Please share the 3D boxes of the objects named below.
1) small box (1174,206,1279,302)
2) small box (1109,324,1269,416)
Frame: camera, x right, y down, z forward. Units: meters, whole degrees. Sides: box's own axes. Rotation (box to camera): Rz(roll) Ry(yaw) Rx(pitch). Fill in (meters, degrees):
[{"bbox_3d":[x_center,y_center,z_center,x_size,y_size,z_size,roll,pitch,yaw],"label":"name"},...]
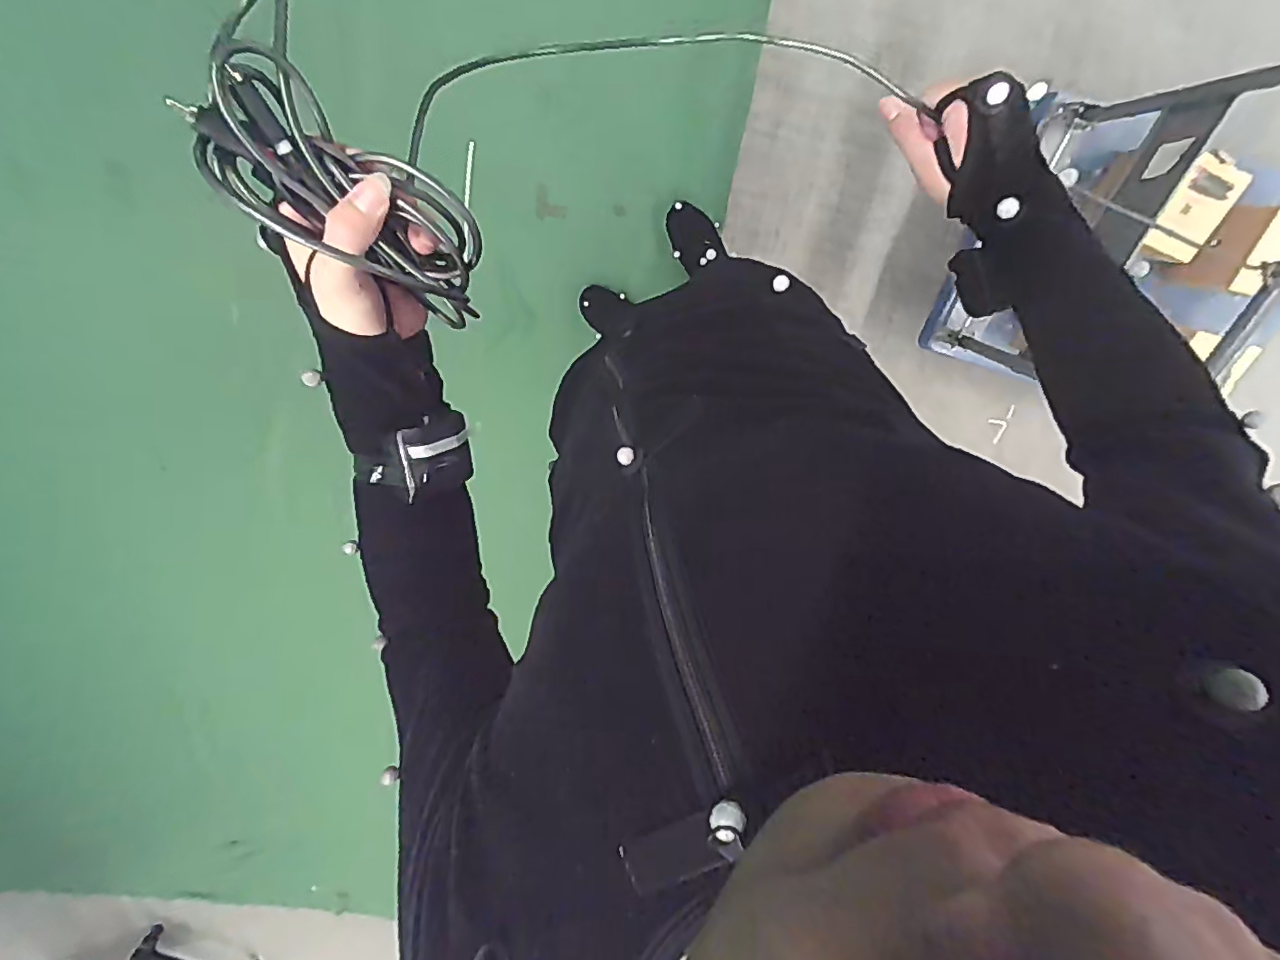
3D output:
[{"bbox_3d":[1.373,-0.500,1.203,0.179,0.176,0.168,11,116,-6],"label":"small box"},{"bbox_3d":[1.314,-0.275,1.312,0.179,0.176,0.168,13,114,-6],"label":"small box"}]
